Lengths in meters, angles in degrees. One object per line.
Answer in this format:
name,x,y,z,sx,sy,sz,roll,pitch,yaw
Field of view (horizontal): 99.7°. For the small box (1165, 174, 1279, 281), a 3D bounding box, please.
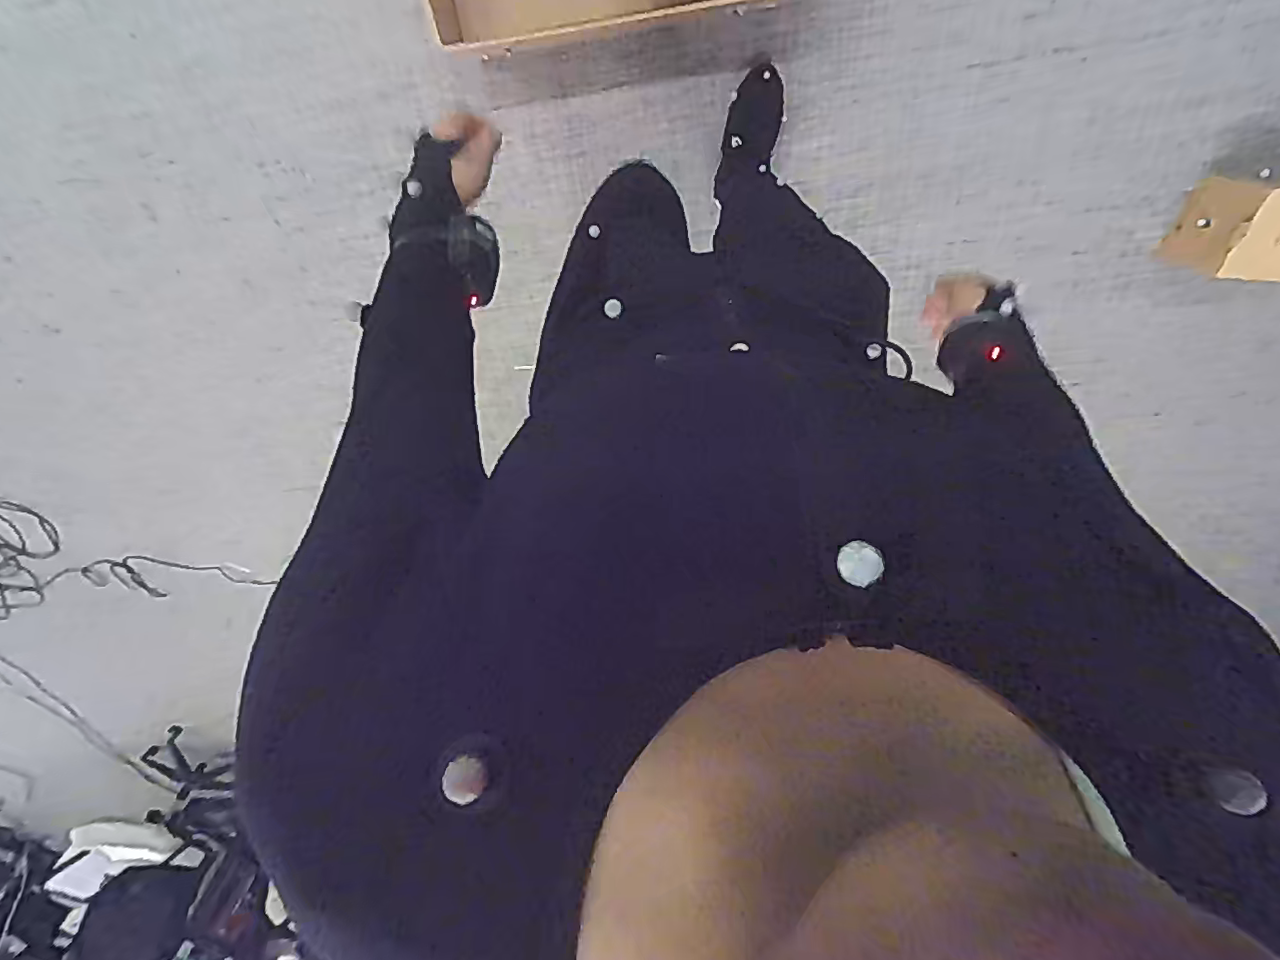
small box,1.265,-0.522,1.115,0.179,0.176,0.168,5,128,1
